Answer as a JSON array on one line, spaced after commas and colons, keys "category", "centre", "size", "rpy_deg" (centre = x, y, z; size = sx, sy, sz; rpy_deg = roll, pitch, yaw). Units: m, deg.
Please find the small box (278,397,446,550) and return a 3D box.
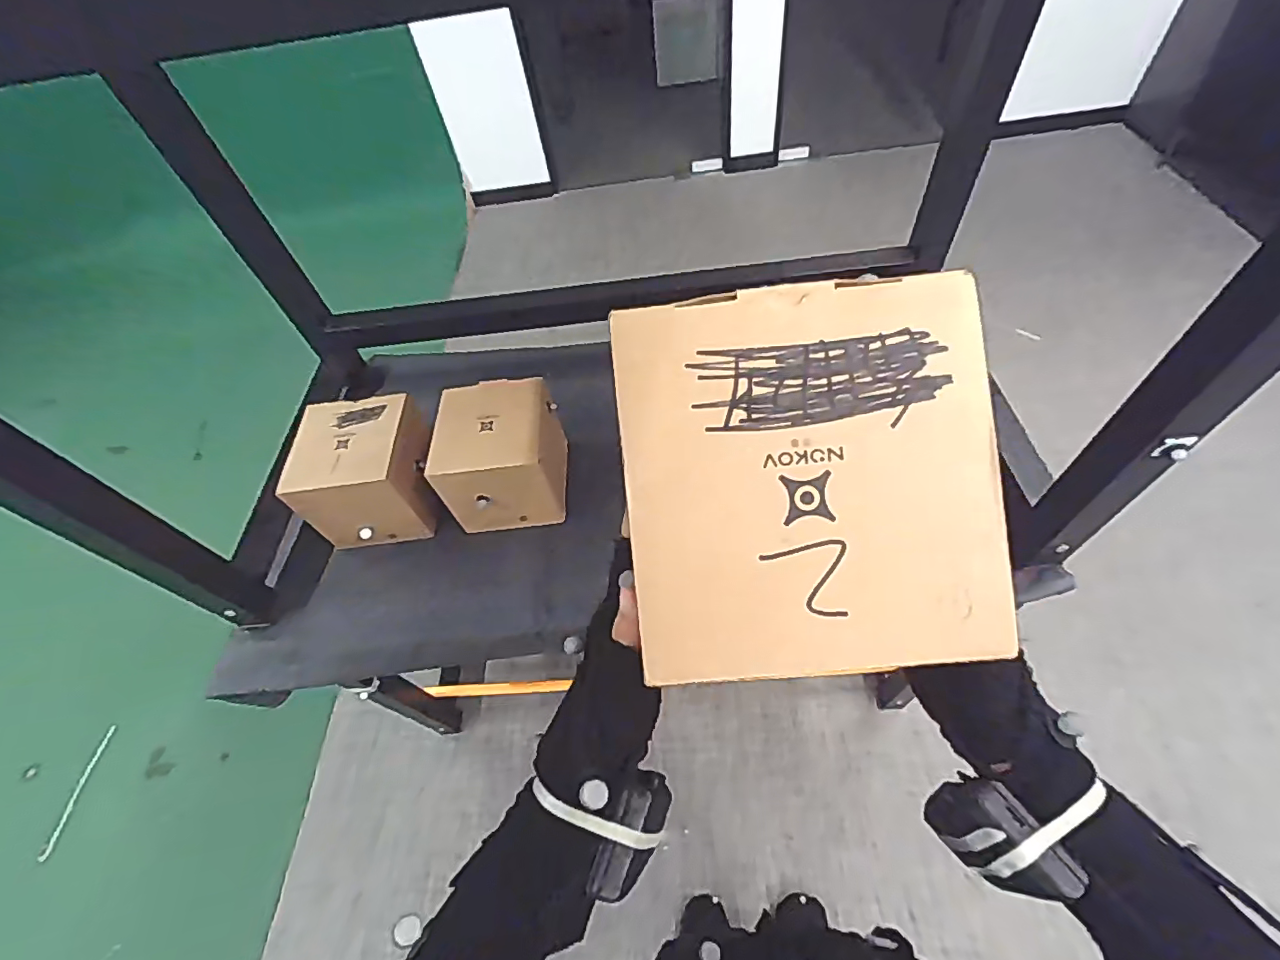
[{"category": "small box", "centre": [-0.433, -0.008, 0.881], "size": [0.168, 0.176, 0.179], "rpy_deg": [-7, 54, 3]}]
